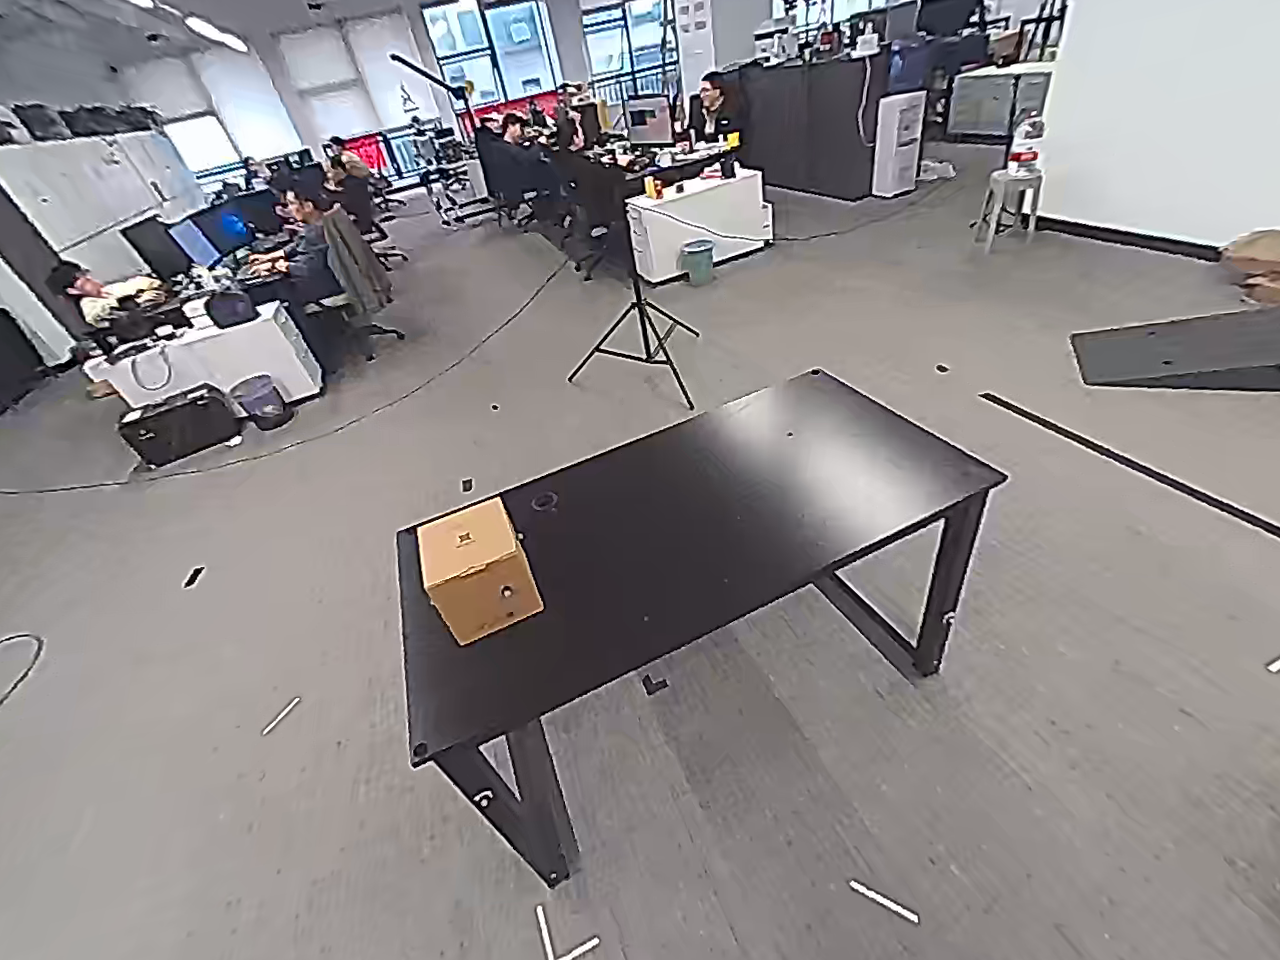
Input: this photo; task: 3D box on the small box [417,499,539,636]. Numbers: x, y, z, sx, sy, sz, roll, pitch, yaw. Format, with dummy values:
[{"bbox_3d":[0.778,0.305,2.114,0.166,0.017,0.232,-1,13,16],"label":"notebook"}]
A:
[{"bbox_3d":[-0.306,0.172,1.034,0.168,0.176,0.179,-22,38,-13],"label":"small box"}]
